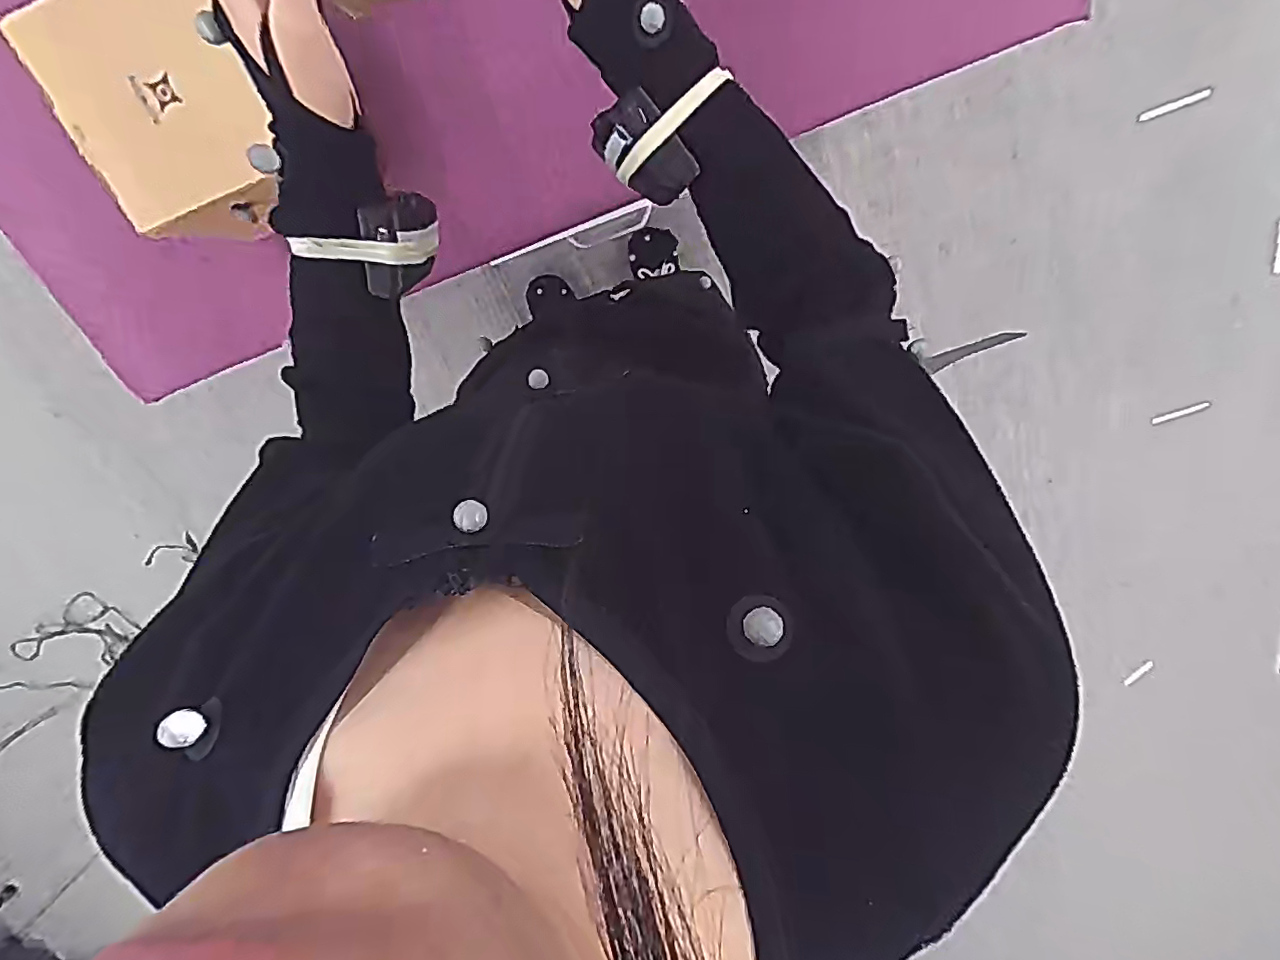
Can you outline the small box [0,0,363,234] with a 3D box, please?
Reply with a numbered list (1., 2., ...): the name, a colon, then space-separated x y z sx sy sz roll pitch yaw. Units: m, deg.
1. small box: -0.402 -0.353 0.522 0.179 0.176 0.168 -19 113 7
